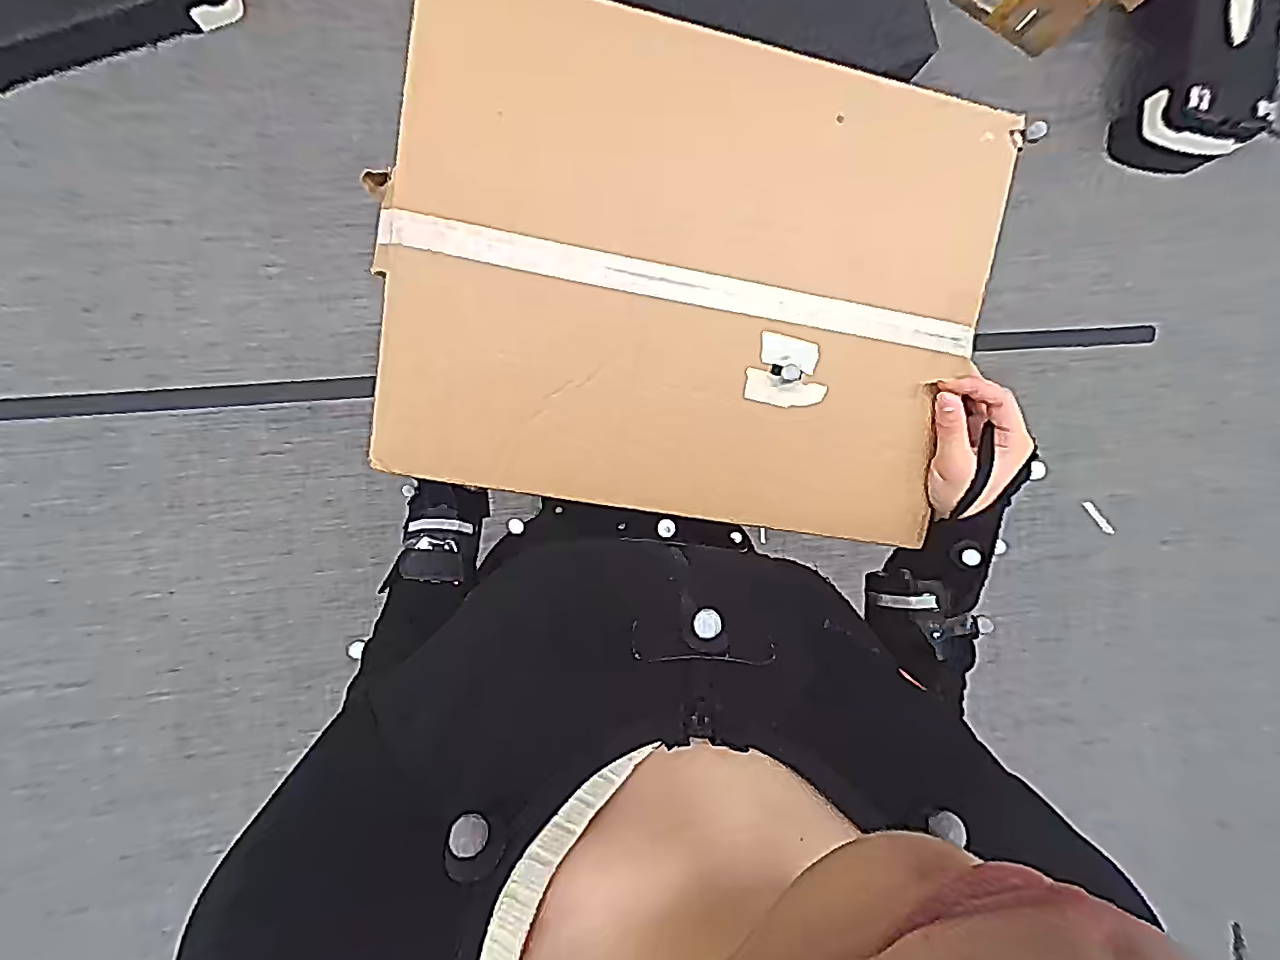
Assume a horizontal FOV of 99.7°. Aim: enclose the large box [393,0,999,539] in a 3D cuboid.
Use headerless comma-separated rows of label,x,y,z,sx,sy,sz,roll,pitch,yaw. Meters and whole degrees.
large box,0.024,-0.146,0.523,0.408,0.320,0.320,8,98,-9
